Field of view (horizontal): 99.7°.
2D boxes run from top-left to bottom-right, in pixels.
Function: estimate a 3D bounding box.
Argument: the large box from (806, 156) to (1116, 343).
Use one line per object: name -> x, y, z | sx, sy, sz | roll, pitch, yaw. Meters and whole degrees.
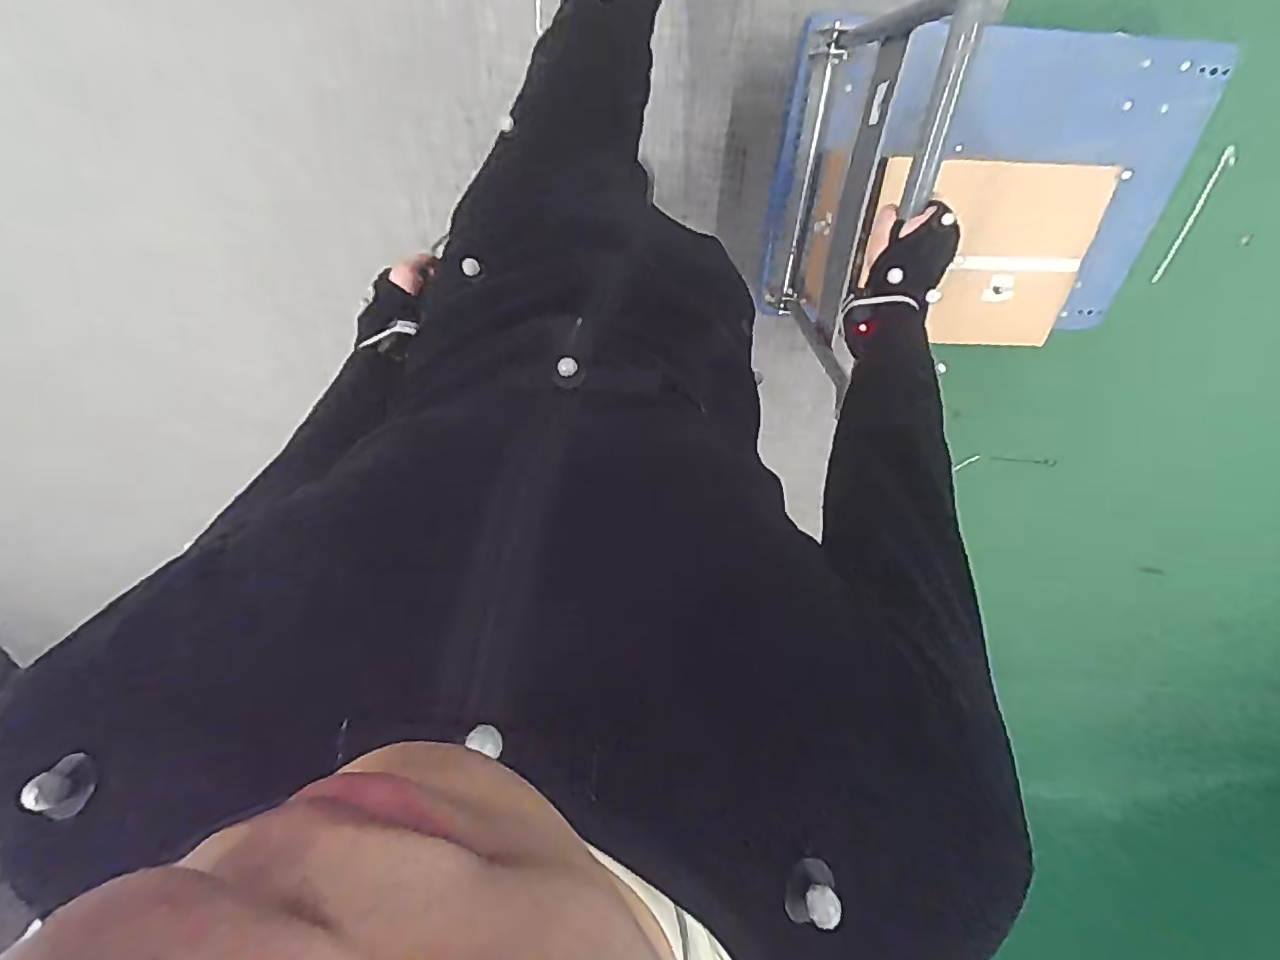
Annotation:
large box -> 0.603, -0.484, 1.115 | 0.408, 0.320, 0.320 | 1, 124, -2
